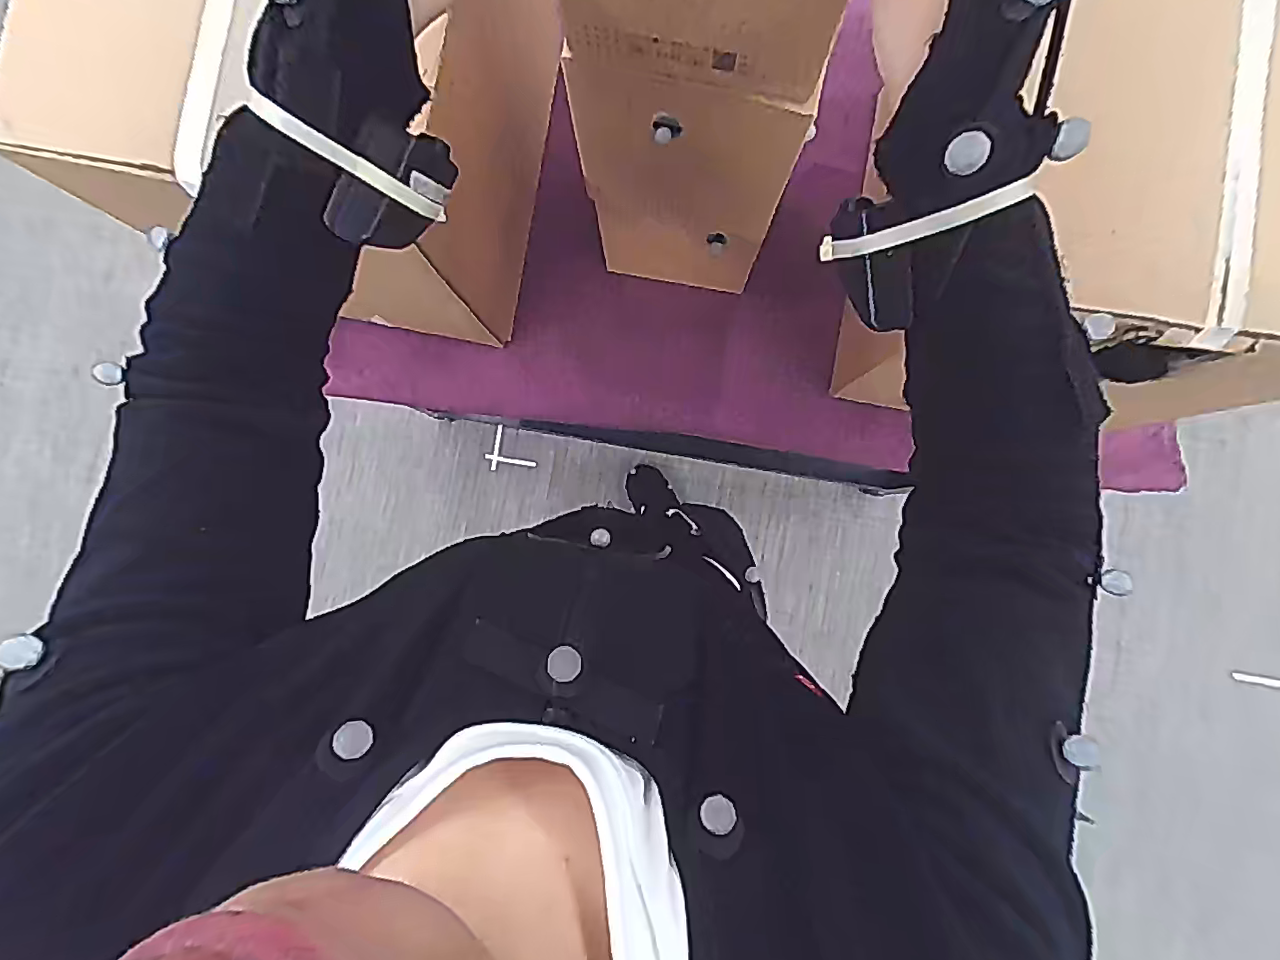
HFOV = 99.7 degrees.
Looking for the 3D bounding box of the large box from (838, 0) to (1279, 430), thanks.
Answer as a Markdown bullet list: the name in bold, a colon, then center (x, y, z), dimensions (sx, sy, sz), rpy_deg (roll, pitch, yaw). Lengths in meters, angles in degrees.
- **large box**: center (0.410, -0.284, 0.522), dimensions (0.320, 0.320, 0.408), rpy_deg (9, 85, 1)
